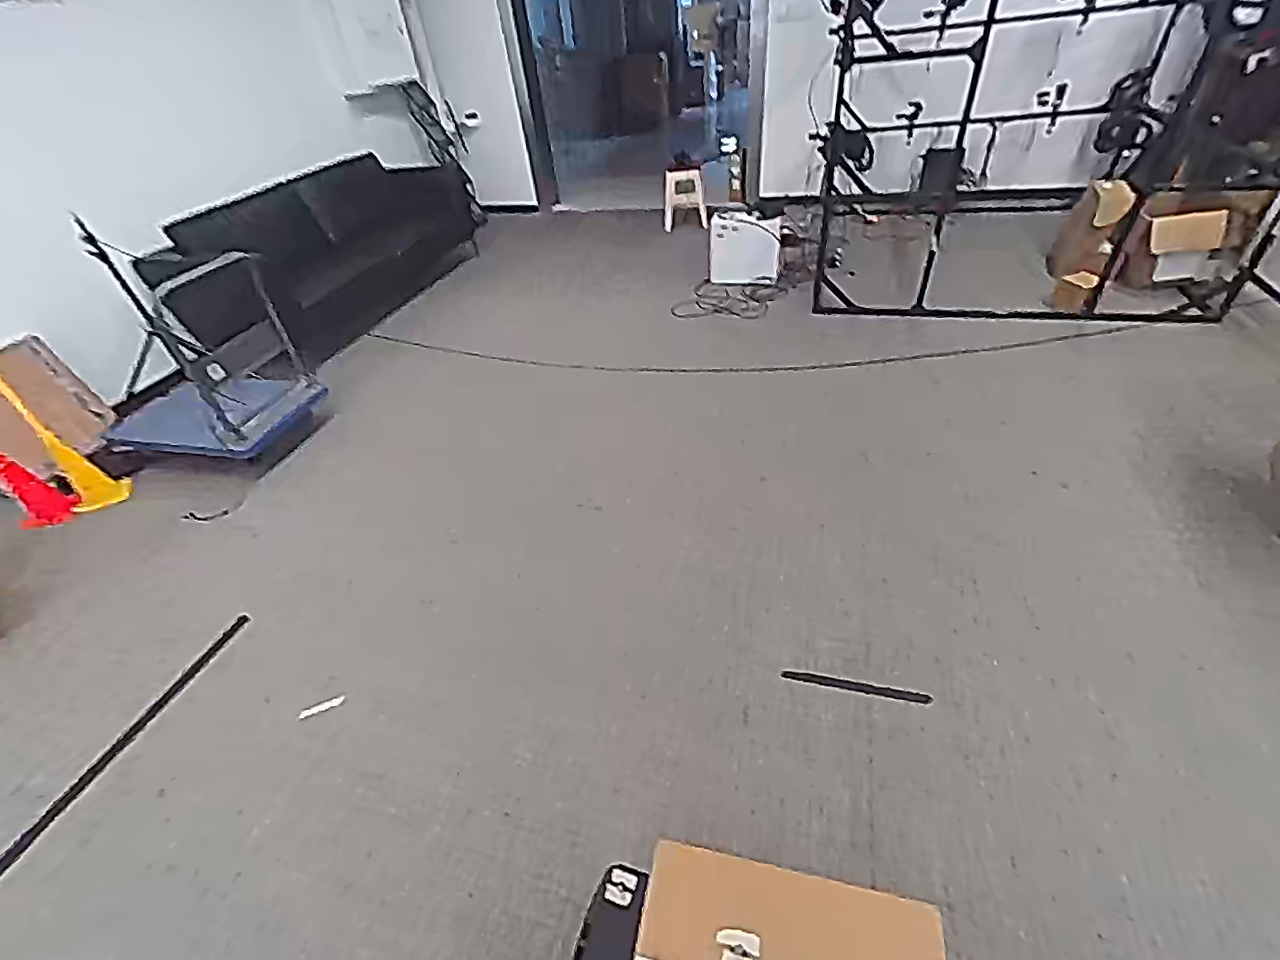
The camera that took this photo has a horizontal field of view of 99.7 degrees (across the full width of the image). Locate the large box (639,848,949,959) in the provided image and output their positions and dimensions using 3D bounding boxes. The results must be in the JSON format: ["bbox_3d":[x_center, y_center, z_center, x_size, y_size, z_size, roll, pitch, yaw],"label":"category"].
[{"bbox_3d":[0.206,0.788,0.770,0.408,0.320,0.320,4,40,15],"label":"large box"}]
